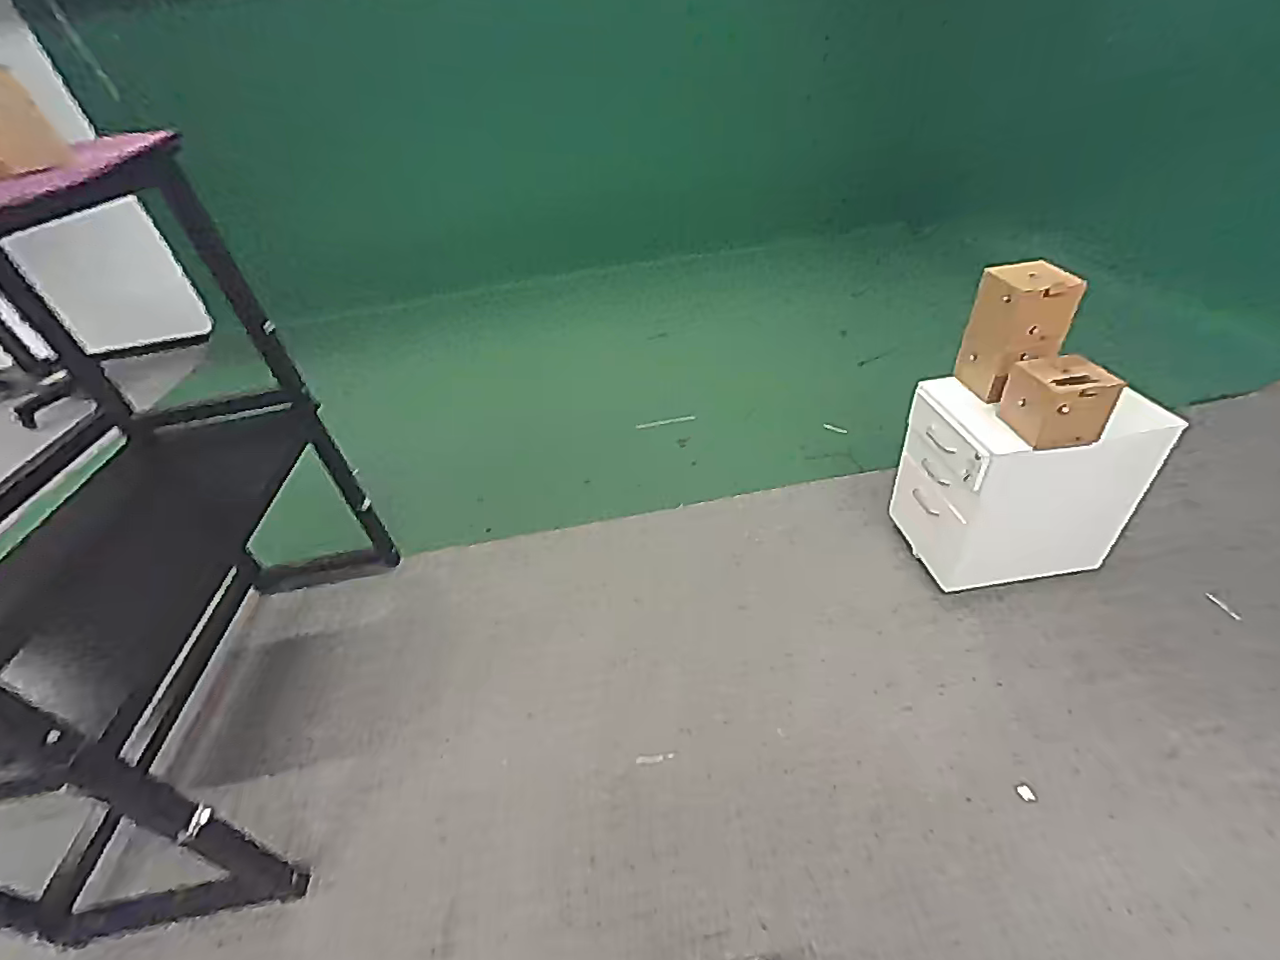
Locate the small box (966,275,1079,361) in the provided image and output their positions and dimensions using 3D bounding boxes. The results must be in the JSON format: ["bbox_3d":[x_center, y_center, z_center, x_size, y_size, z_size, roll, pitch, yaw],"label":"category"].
[{"bbox_3d":[1.042,-0.447,1.495,0.168,0.176,0.179,-8,40,0],"label":"small box"}]

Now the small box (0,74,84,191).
[{"bbox_3d":[-1.258,-0.661,1.042,0.168,0.176,0.179,-11,38,0],"label":"small box"}]

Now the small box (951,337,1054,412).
[{"bbox_3d":[1.057,-0.320,1.596,0.168,0.176,0.179,-9,38,-1],"label":"small box"}]
